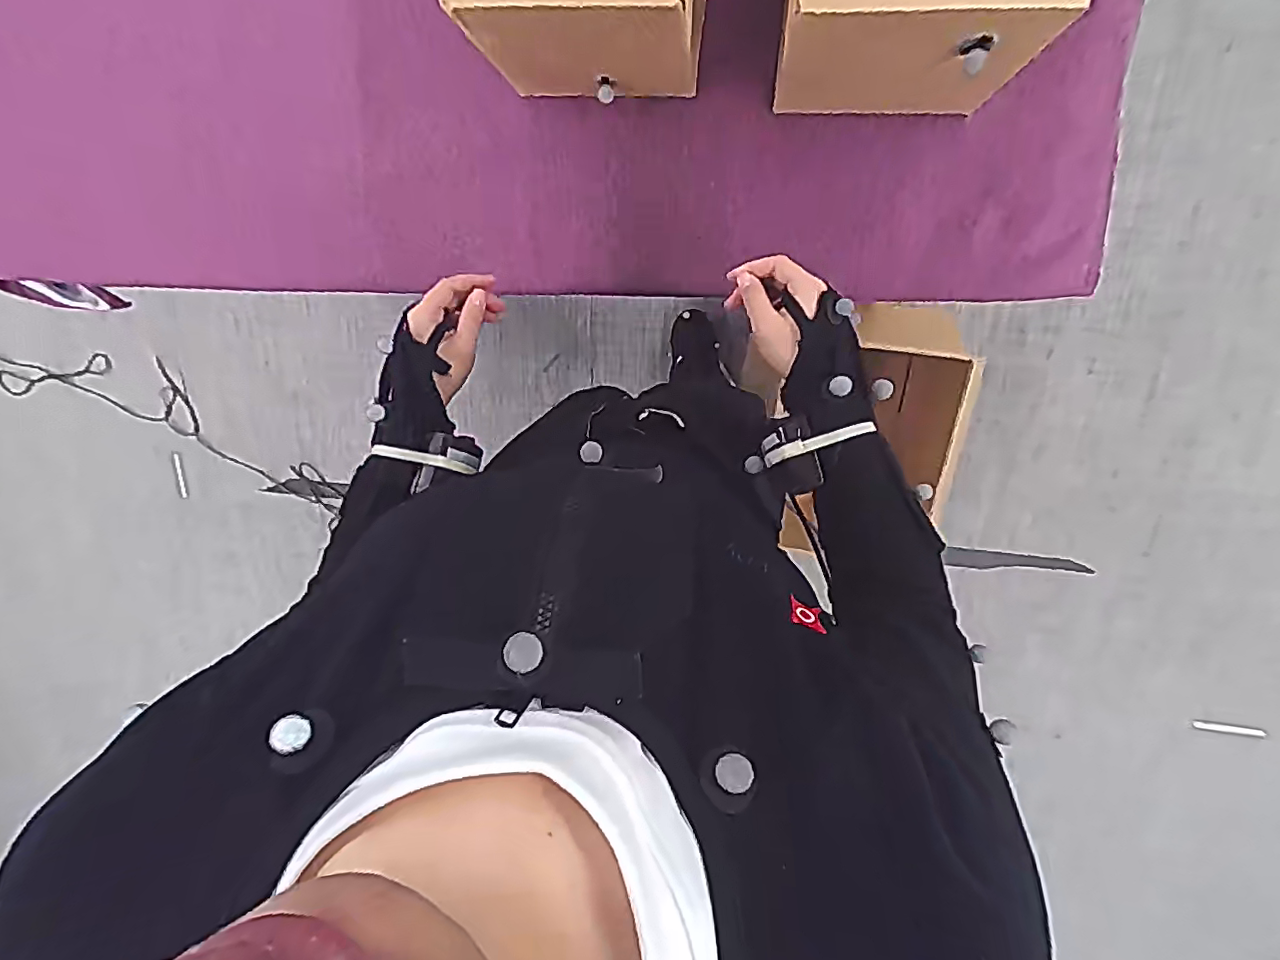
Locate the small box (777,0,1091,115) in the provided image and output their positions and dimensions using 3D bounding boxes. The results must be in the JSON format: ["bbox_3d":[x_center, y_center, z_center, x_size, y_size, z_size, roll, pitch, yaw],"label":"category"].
[{"bbox_3d":[0.206,-0.393,0.395,0.179,0.176,0.168,6,105,7],"label":"small box"}]

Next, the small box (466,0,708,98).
[{"bbox_3d":[-0.036,-0.427,0.423,0.179,0.176,0.168,6,106,8],"label":"small box"}]
